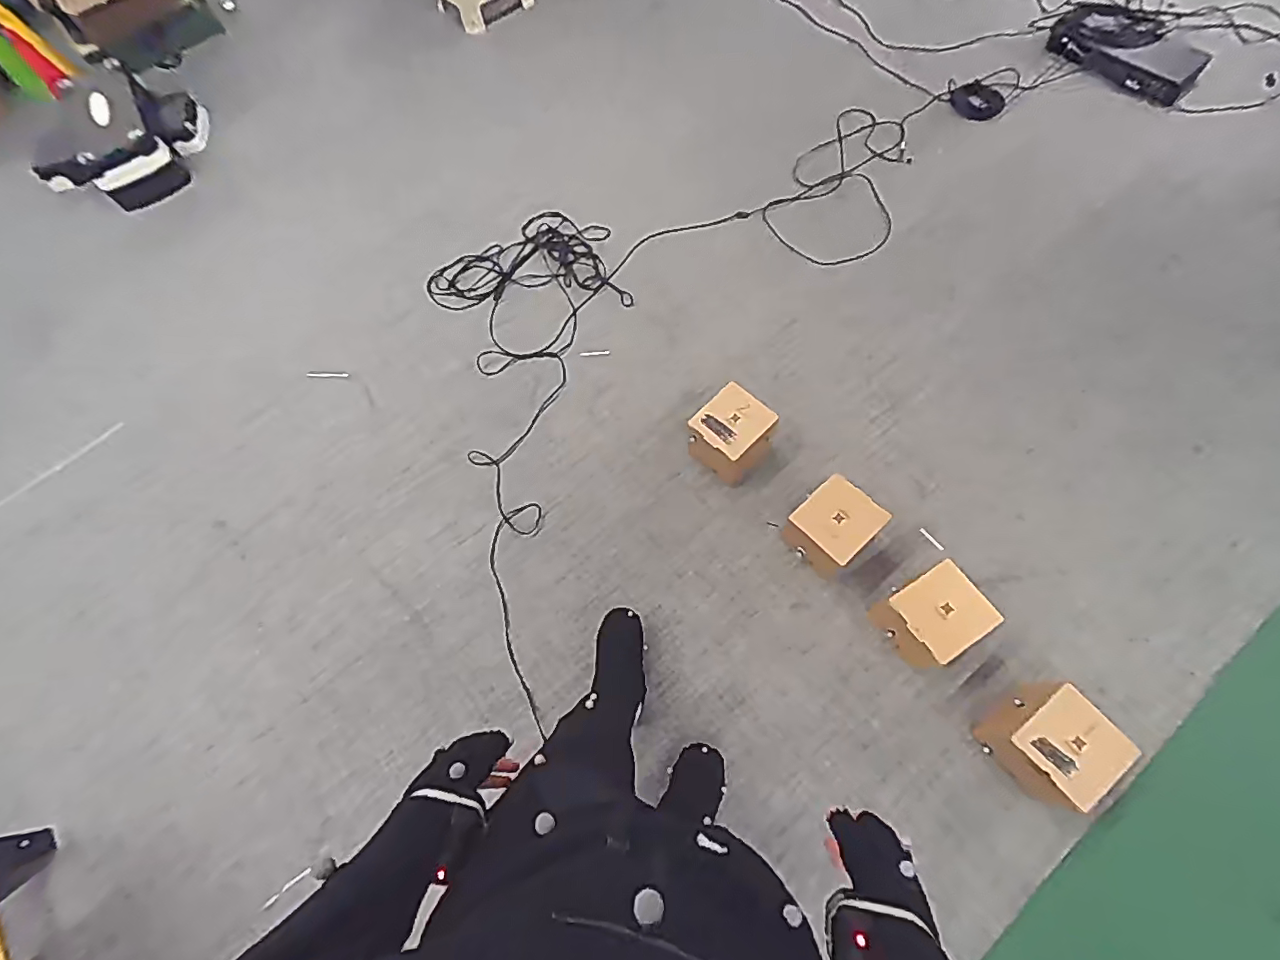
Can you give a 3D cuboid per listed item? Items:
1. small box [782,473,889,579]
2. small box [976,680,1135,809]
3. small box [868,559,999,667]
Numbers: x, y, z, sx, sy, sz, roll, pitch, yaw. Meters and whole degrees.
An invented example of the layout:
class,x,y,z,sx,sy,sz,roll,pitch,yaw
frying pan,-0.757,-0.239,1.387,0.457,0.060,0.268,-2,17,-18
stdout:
class,x,y,z,sx,sy,sz,roll,pitch,yaw
small box,0.471,0.119,1.339,0.179,0.176,0.168,-42,68,-10
small box,0.845,0.543,1.127,0.179,0.176,0.168,-37,69,-10
small box,0.660,0.310,1.242,0.179,0.176,0.168,-33,69,-7
